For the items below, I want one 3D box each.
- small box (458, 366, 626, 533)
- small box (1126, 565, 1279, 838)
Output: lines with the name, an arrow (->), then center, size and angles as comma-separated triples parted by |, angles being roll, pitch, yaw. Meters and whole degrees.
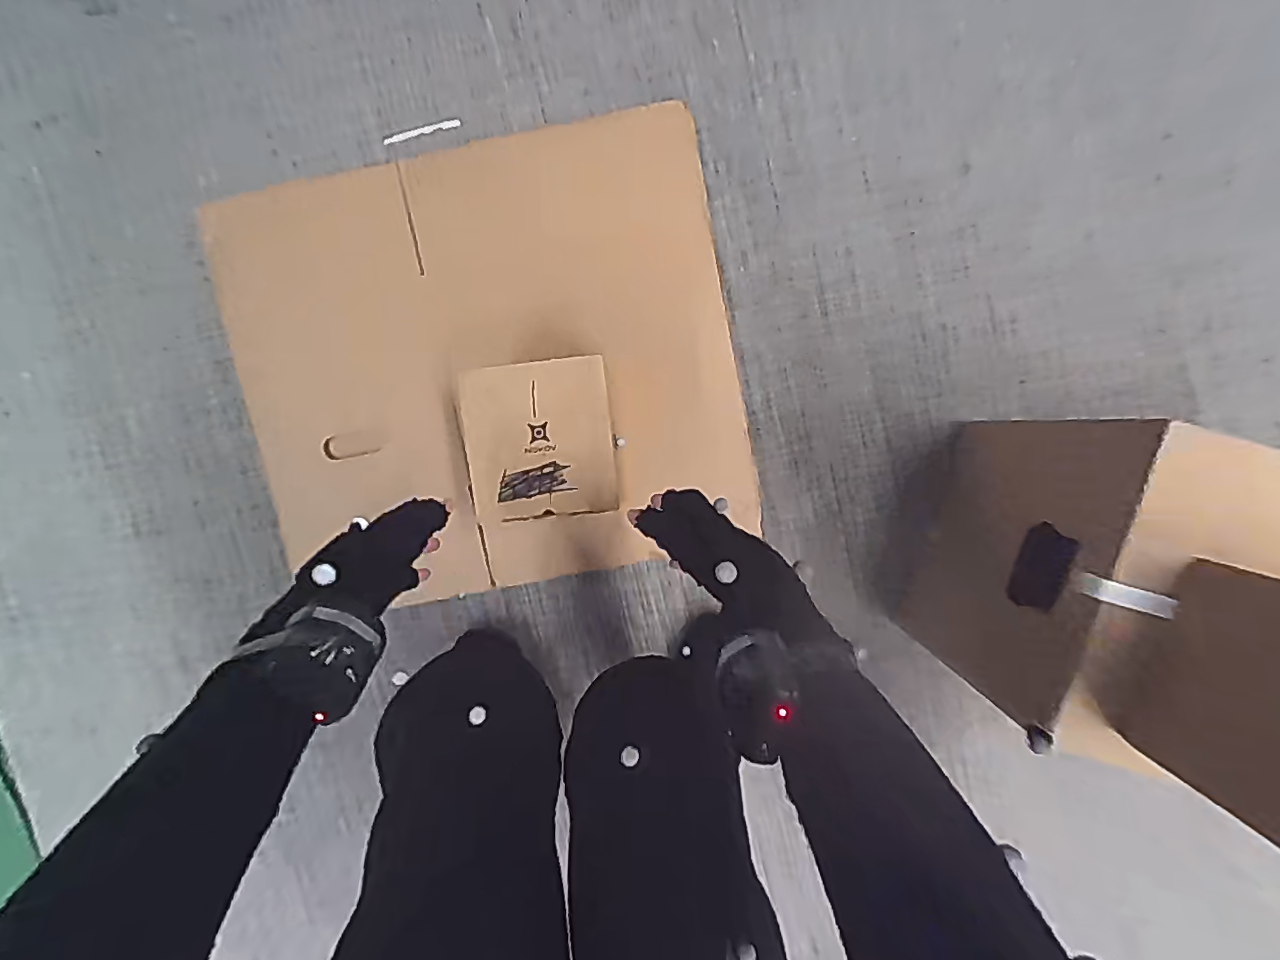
small box -> -0.111, -0.039, 0.685 | 0.168, 0.176, 0.179 | -6, 93, 3
small box -> 0.522, 0.179, 0.394 | 0.168, 0.176, 0.179 | 18, 97, 1
